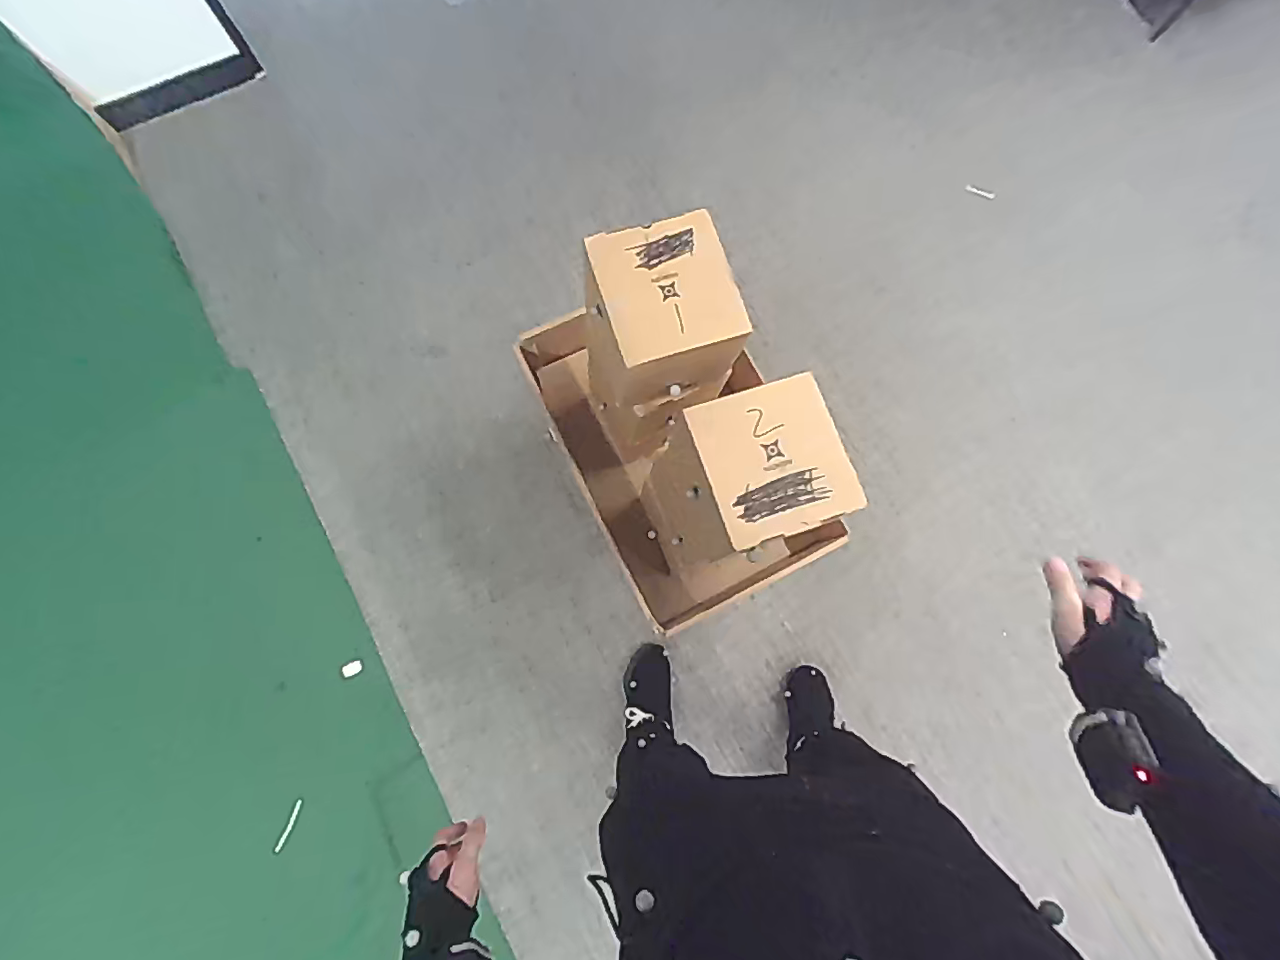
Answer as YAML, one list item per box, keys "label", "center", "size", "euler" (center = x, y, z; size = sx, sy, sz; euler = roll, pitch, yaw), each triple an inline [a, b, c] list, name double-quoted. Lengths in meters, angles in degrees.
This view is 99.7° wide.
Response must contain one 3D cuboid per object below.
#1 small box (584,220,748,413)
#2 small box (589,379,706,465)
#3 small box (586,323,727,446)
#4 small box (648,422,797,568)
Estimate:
- label: "small box"
  center: [0.024, -0.214, 0.744]
  size: [0.168, 0.176, 0.179]
  euler: [-17, 82, -8]
- label: "small box"
  center: [0.005, -0.151, 1.063]
  size: [0.168, 0.176, 0.179]
  euler: [-26, 82, -8]
- label: "small box"
  center: [0.016, -0.180, 0.904]
  size: [0.168, 0.176, 0.179]
  euler: [-26, 83, -10]
- label: "small box"
  center: [0.119, 0.034, 0.858]
  size: [0.168, 0.176, 0.179]
  euler: [-18, 78, -8]
